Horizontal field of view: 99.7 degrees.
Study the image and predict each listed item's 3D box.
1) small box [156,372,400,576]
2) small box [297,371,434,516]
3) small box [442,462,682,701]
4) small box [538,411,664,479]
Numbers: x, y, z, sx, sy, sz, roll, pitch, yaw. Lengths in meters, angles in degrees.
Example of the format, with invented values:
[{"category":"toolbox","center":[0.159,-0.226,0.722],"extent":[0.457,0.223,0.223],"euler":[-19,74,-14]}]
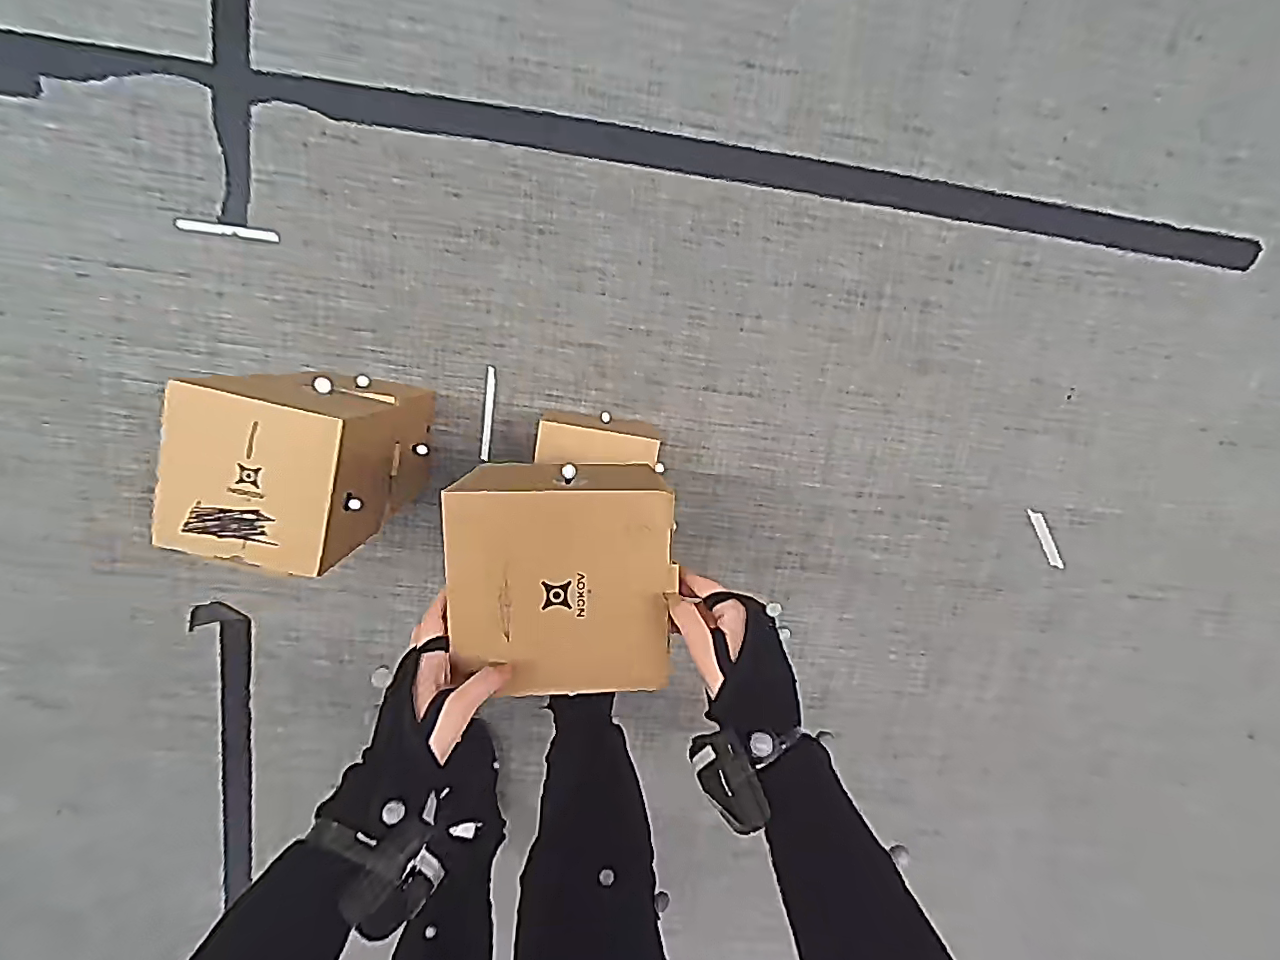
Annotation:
[{"category":"small box","center":[-0.395,-0.017,0.618],"extent":[0.168,0.176,0.179],"euler":[14,101,-7]},{"category":"small box","center":[-0.410,-0.060,0.777],"extent":[0.179,0.176,0.168],"euler":[9,102,-7]},{"category":"small box","center":[-0.066,0.074,0.483],"extent":[0.179,0.176,0.168],"euler":[0,99,-6]},{"category":"small box","center":[-0.069,-0.002,0.814],"extent":[0.168,0.176,0.179],"euler":[10,102,-6]}]
